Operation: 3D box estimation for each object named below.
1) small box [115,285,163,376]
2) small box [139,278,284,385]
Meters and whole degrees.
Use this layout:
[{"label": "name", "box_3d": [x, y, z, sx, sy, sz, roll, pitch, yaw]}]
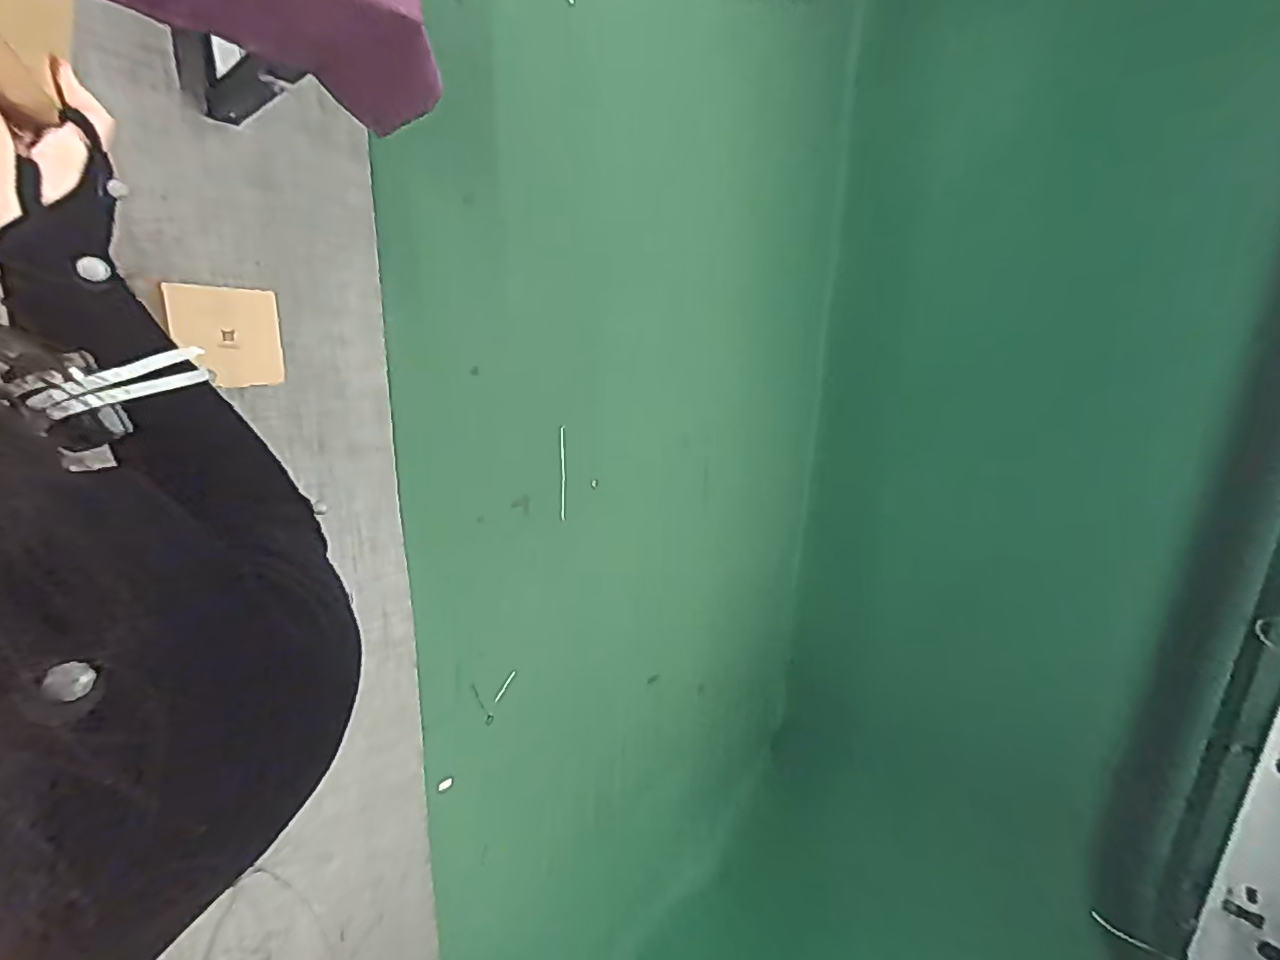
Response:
[{"label": "small box", "box_3d": [-0.932, -0.303, 1.103, 0.179, 0.176, 0.168, -19, 116, -49]}, {"label": "small box", "box_3d": [-0.800, -0.276, 1.012, 0.168, 0.176, 0.179, -16, 113, -51]}]
